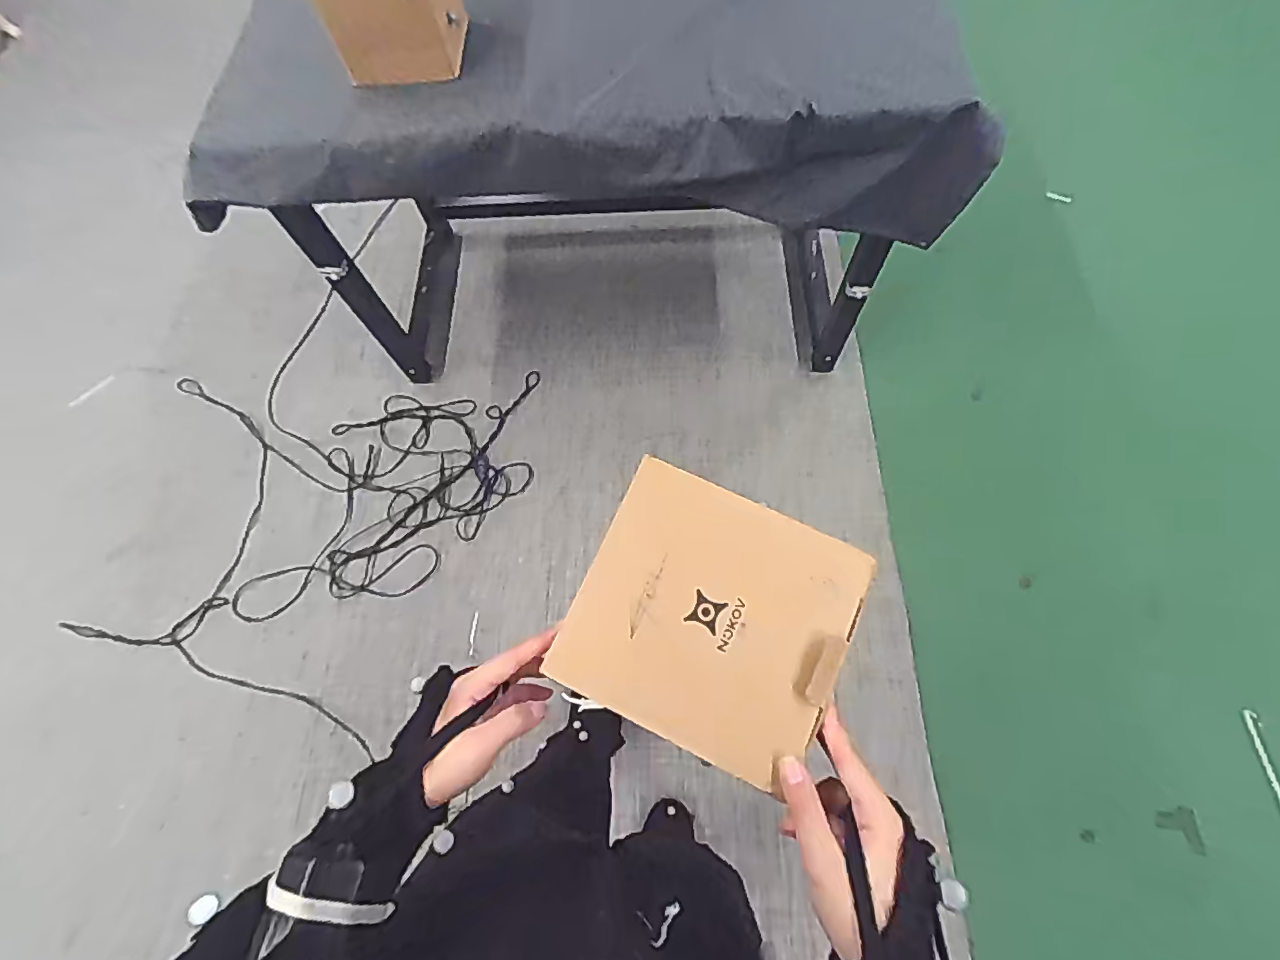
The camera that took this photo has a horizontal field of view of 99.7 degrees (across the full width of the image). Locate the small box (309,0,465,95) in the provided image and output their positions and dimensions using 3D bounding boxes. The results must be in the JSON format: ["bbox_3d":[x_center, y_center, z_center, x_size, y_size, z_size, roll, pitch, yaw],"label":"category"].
[{"bbox_3d":[-0.396,-0.741,0.852,0.179,0.176,0.168,-2,67,2],"label":"small box"}]

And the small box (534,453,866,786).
[{"bbox_3d":[0.046,0.104,0.436,0.179,0.176,0.168,23,76,10],"label":"small box"}]
